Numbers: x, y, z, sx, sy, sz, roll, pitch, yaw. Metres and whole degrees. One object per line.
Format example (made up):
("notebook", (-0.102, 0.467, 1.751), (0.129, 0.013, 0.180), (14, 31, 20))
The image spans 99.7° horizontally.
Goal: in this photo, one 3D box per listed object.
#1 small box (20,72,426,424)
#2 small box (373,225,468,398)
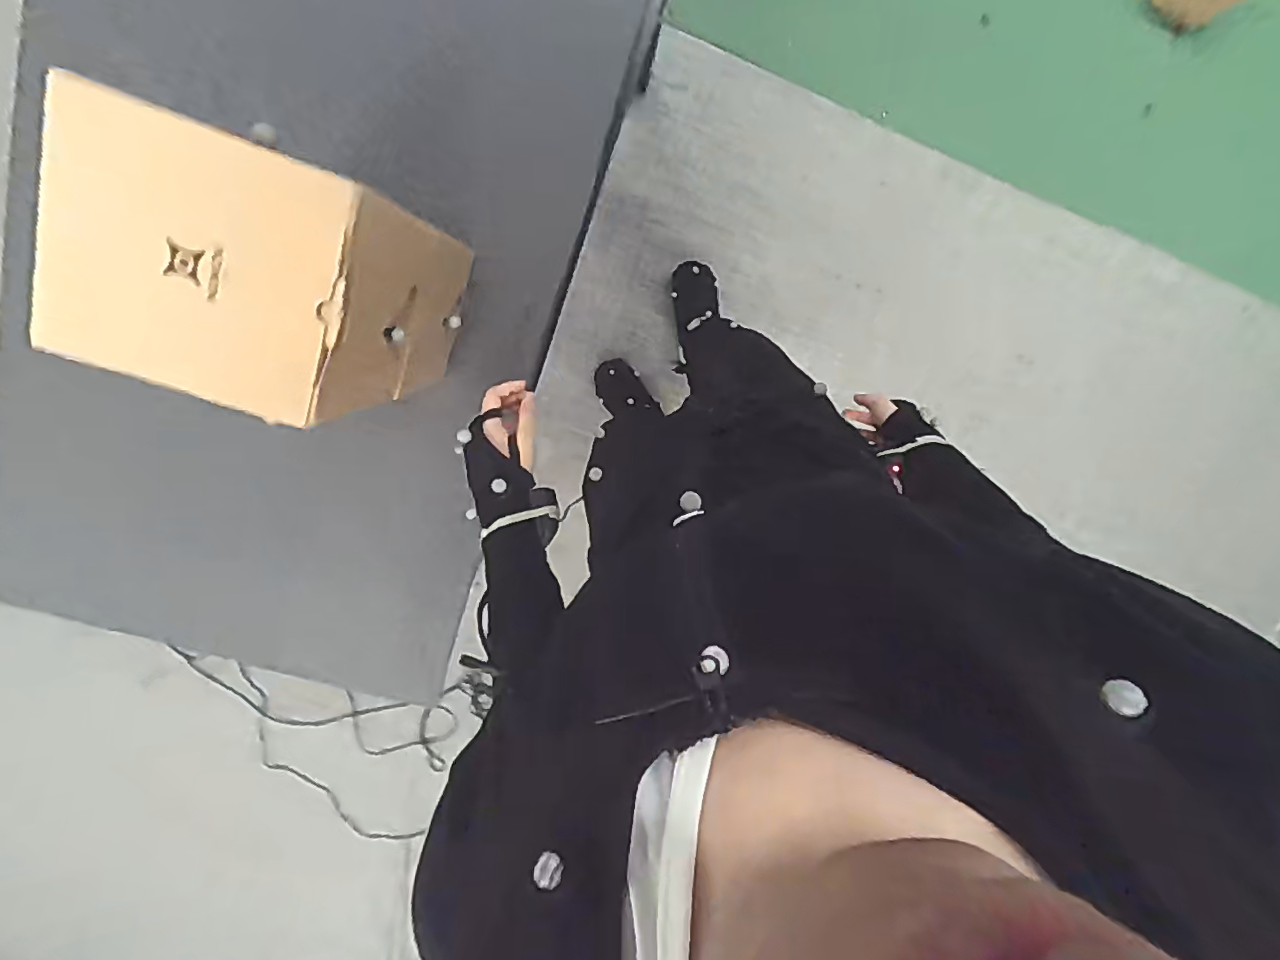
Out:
("small box", (-0.292, -0.156, 0.417), (0.179, 0.176, 0.168), (17, 103, -9))
("small box", (-0.304, -0.199, 0.573), (0.179, 0.176, 0.168), (17, 104, -9))
